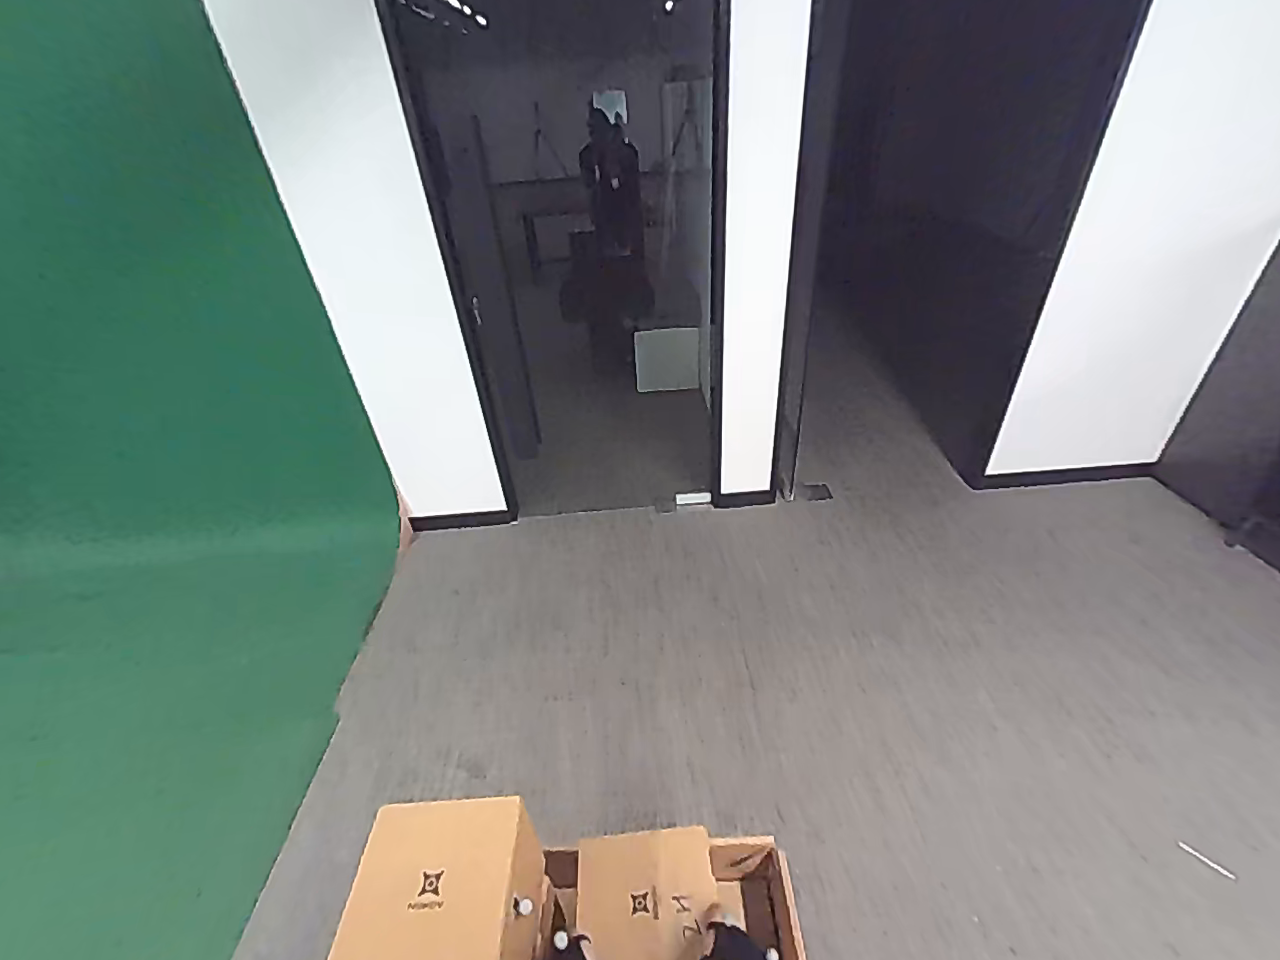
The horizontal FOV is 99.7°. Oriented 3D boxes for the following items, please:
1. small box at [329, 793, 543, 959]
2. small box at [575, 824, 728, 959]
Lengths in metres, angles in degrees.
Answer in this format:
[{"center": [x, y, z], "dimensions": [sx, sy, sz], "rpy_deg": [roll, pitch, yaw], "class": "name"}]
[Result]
[{"center": [-0.206, 0.480, 0.597], "dimensions": [0.168, 0.176, 0.179], "rpy_deg": [-4, 35, 1], "class": "small box"}, {"center": [0.018, 0.580, 0.696], "dimensions": [0.179, 0.176, 0.168], "rpy_deg": [-6, 31, 0], "class": "small box"}]
